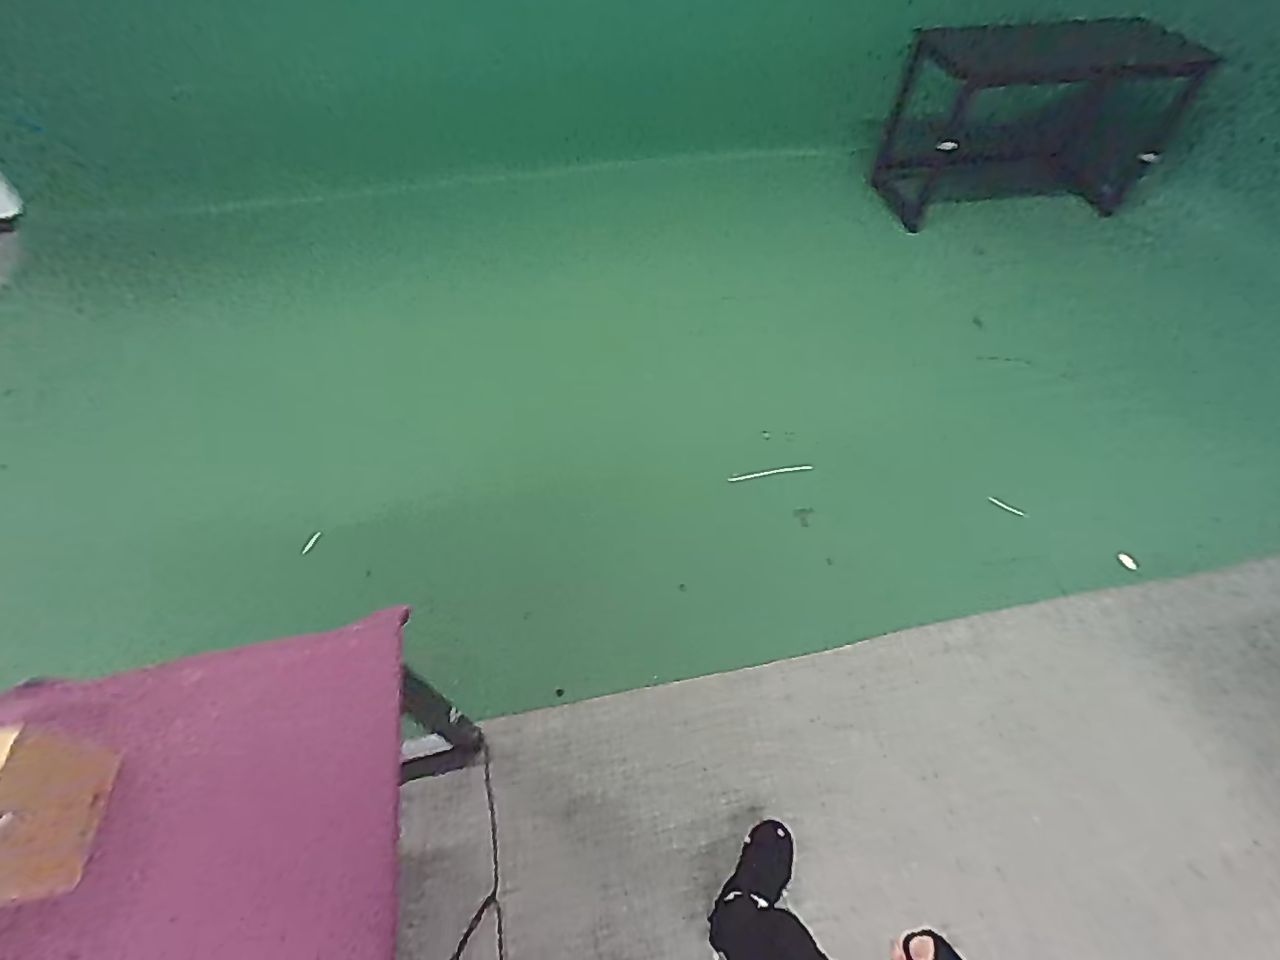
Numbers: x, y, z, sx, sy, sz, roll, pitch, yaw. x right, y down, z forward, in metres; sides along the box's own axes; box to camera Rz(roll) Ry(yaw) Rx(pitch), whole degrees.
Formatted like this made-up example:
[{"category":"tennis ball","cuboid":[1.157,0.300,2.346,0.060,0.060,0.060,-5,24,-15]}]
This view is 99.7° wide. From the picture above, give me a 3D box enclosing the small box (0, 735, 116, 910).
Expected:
[{"category":"small box","cuboid":[-0.822,0.430,0.660,0.179,0.176,0.168,-8,54,-6]}]
